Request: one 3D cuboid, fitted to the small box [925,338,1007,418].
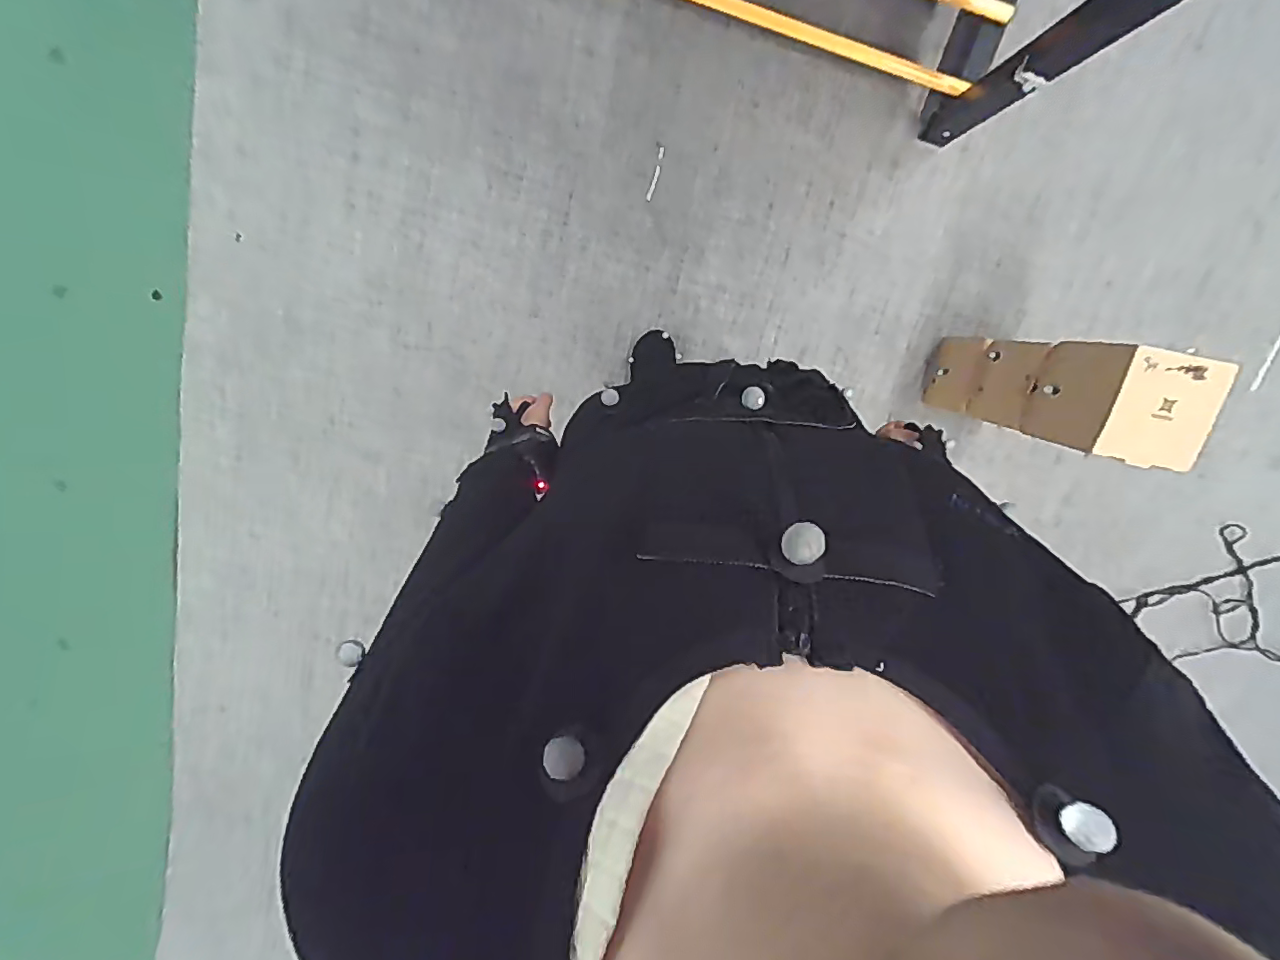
[{"bbox_3d":[0.789,-0.224,1.222,0.179,0.176,0.168,10,105,-2],"label":"small box"}]

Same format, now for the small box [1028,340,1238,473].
[{"bbox_3d":[0.803,-0.130,0.908,0.168,0.176,0.179,11,107,-3],"label":"small box"}]

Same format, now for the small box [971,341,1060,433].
[{"bbox_3d":[0.800,-0.176,1.065,0.179,0.176,0.168,10,106,-4],"label":"small box"}]
